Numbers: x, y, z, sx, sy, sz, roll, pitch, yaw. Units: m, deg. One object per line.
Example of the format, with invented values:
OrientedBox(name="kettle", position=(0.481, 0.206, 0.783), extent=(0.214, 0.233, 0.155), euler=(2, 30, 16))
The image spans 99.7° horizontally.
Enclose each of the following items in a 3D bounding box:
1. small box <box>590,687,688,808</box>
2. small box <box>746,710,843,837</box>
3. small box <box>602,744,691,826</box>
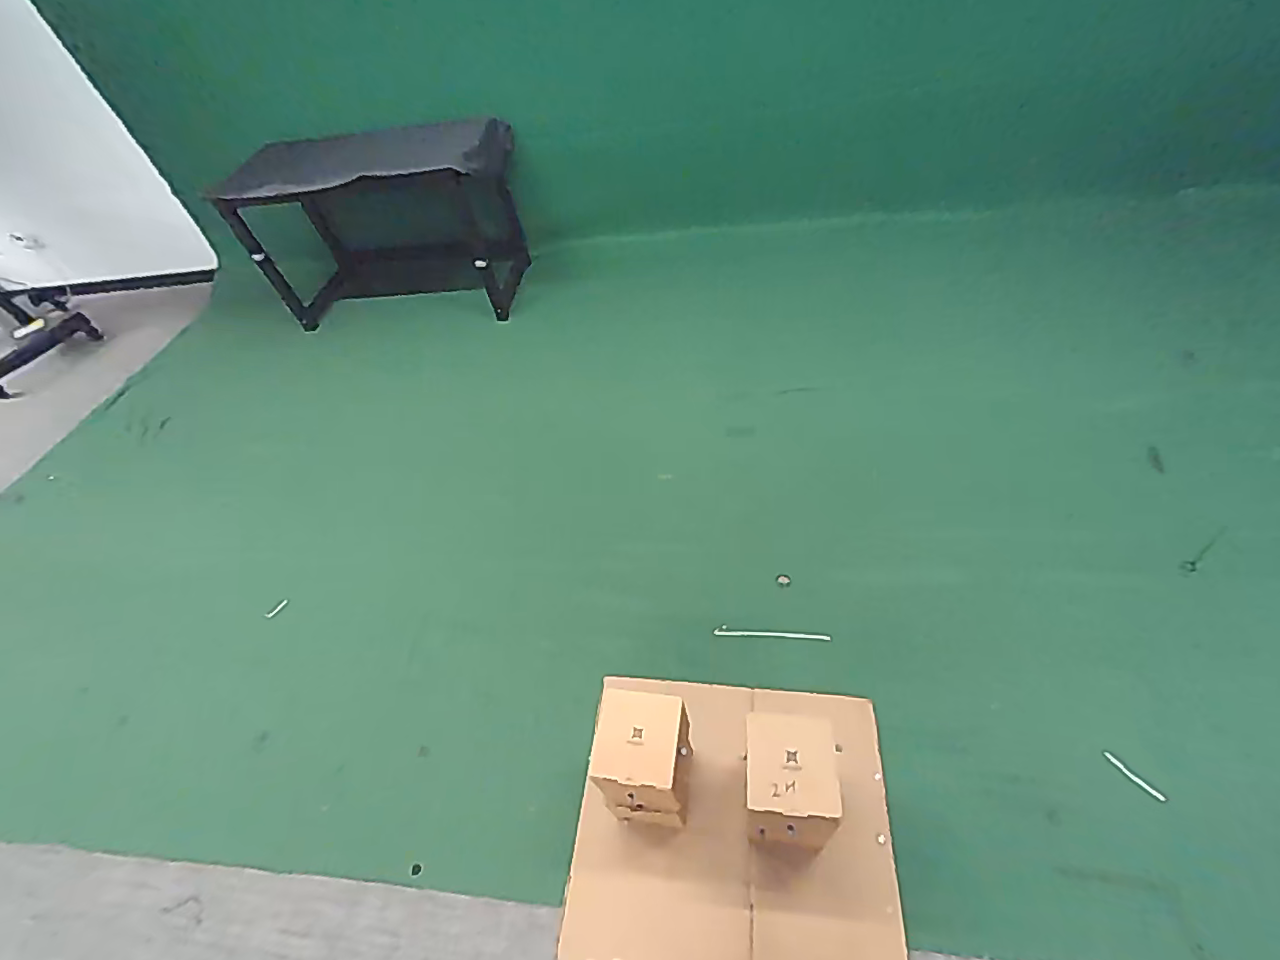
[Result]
OrientedBox(name="small box", position=(0.008, 0.559, 1.131), extent=(0.168, 0.176, 0.179), euler=(3, 50, 13))
OrientedBox(name="small box", position=(0.293, 0.575, 1.060), extent=(0.168, 0.176, 0.179), euler=(0, 48, 12))
OrientedBox(name="small box", position=(0.025, 0.675, 1.245), extent=(0.168, 0.176, 0.179), euler=(1, 48, 13))
